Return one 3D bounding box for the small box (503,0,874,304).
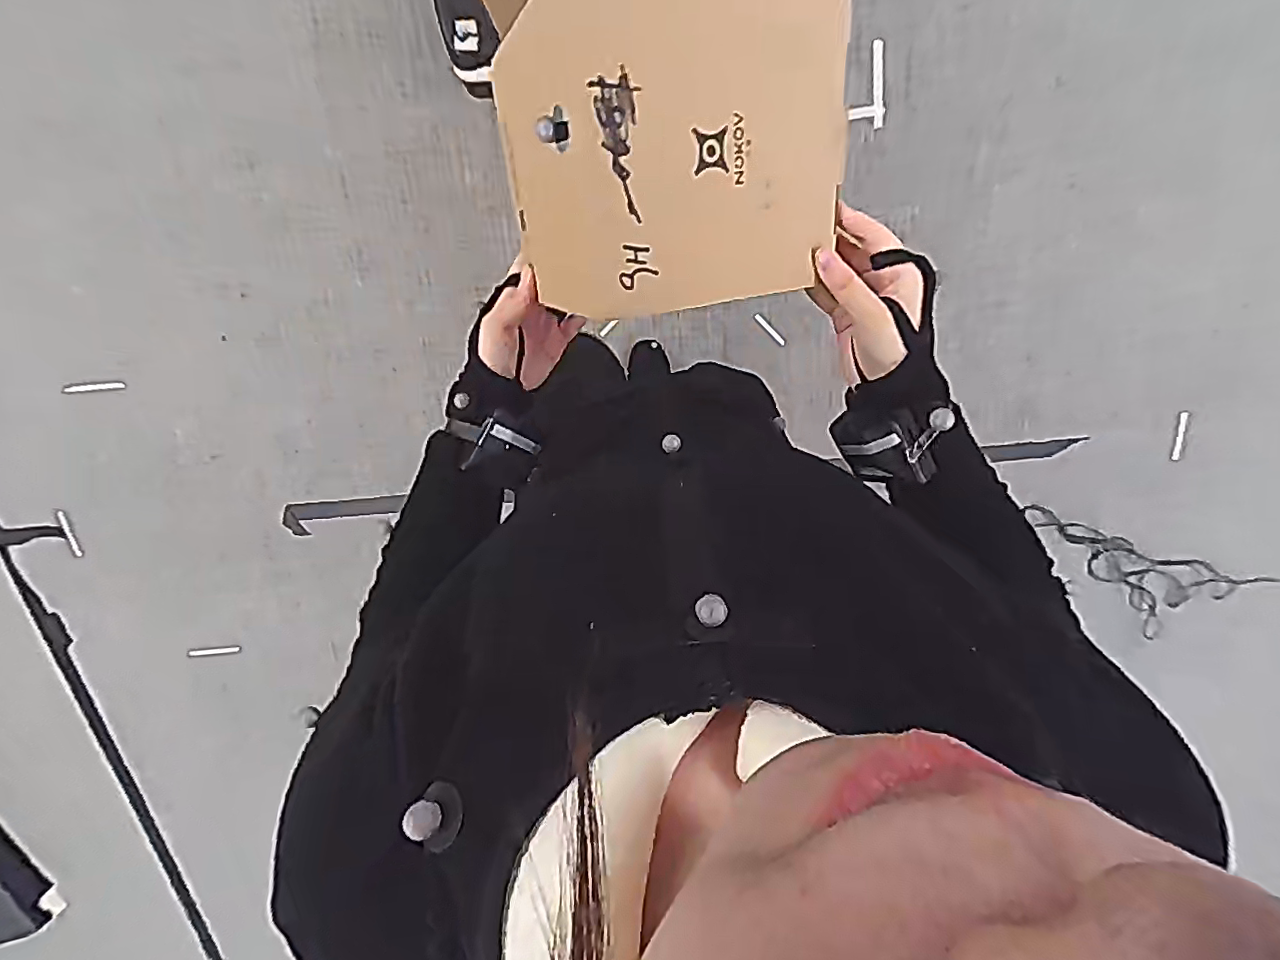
[{"bbox_3d":[0.023,-0.218,0.364,0.179,0.176,0.168,-15,116,-21],"label":"small box"}]
